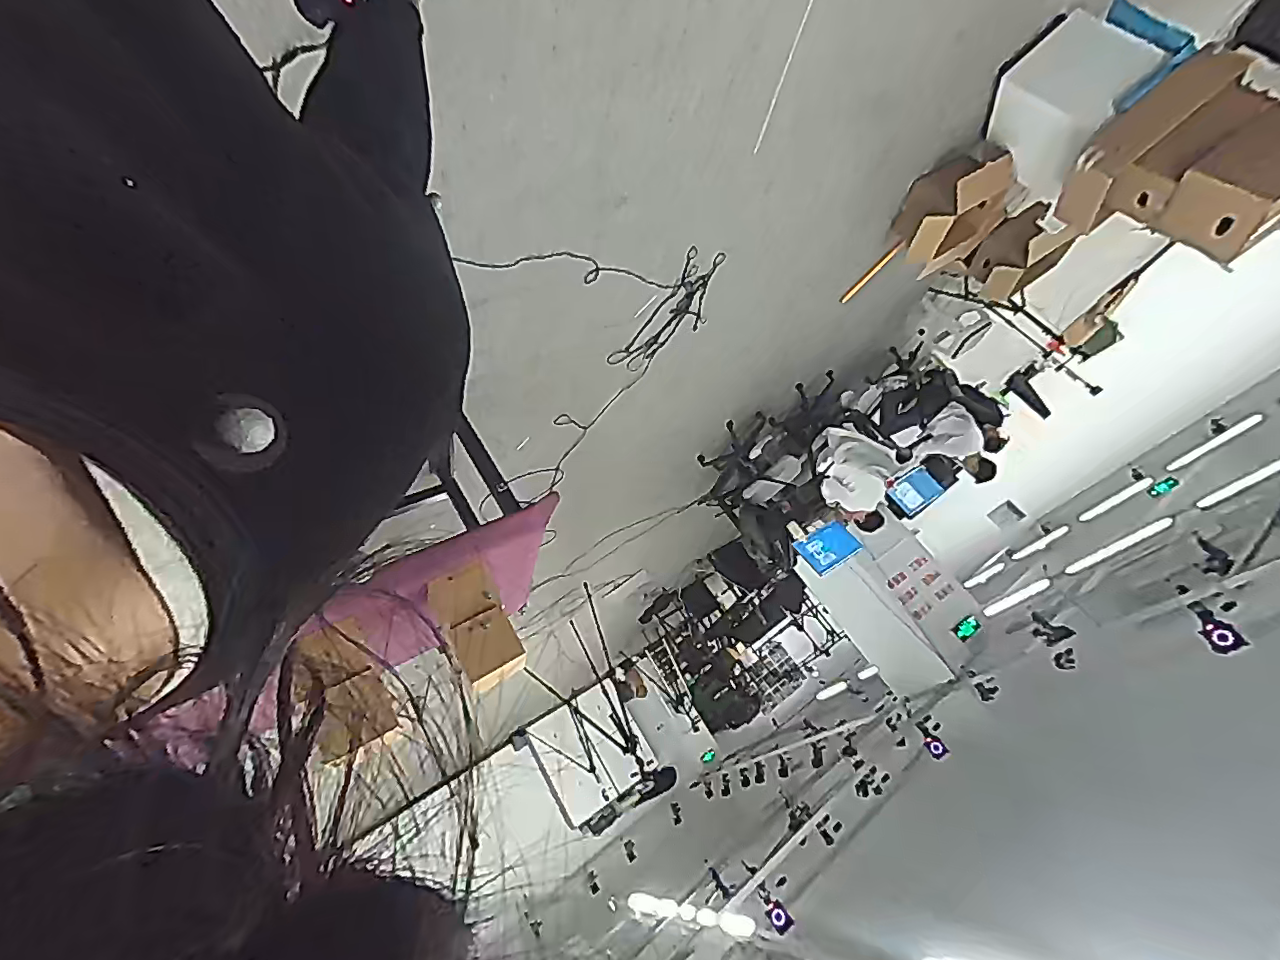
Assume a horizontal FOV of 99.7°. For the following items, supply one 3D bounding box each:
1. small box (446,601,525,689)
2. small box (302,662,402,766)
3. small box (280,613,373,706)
[{"bbox_3d":[-0.452,0.480,1.582,0.168,0.176,0.179,-25,157,-28],"label":"small box"},{"bbox_3d":[-0.741,0.601,1.401,0.179,0.176,0.168,-23,156,-32],"label":"small box"},{"bbox_3d":[-0.841,0.487,1.464,0.179,0.176,0.168,-20,155,-33],"label":"small box"}]
